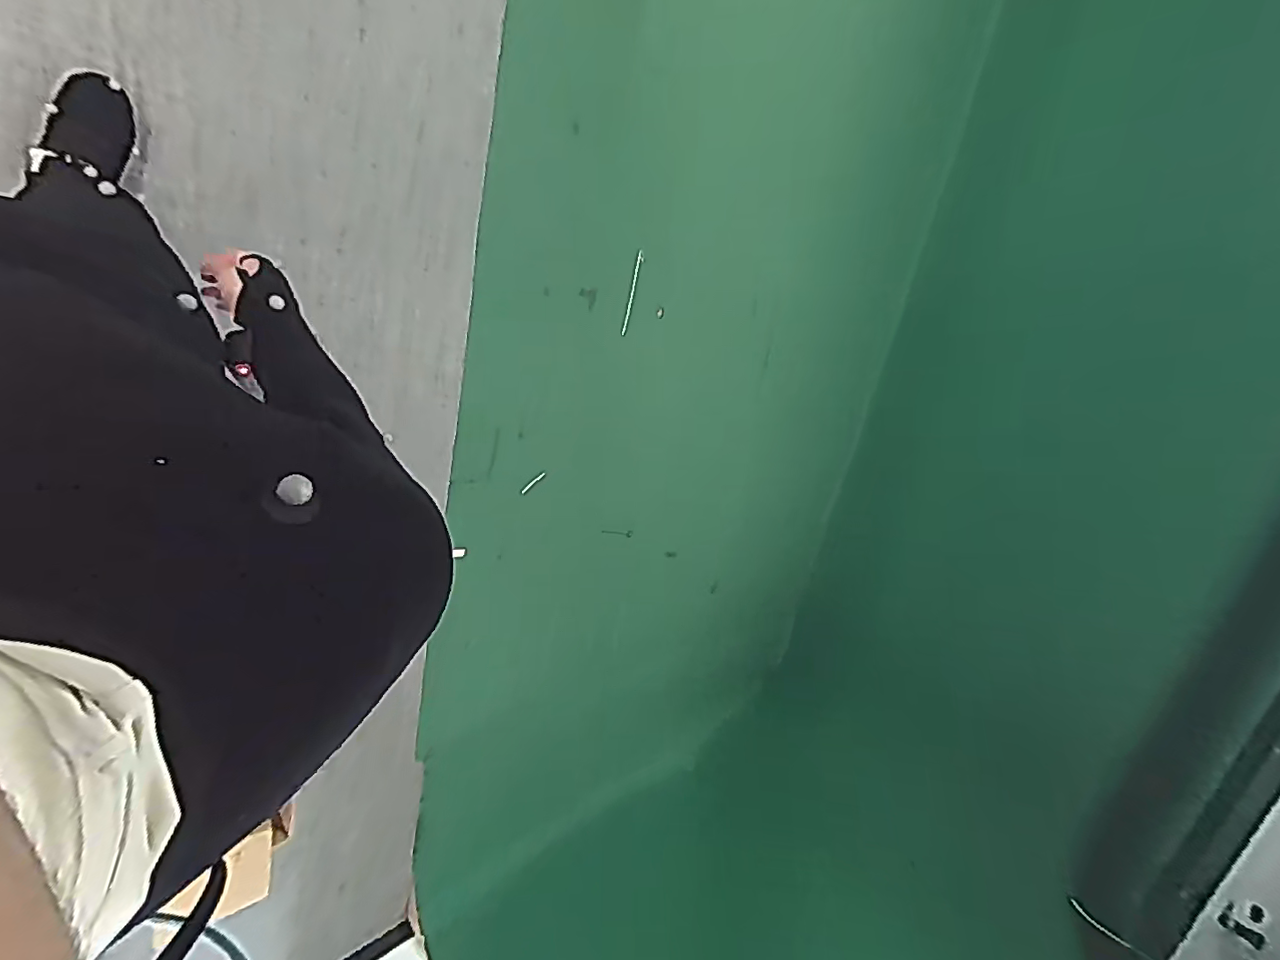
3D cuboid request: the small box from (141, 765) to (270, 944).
[{"bbox_3d":[-0.806,0.678,1.002,0.168,0.176,0.179,-3,113,-46],"label":"small box"}]
